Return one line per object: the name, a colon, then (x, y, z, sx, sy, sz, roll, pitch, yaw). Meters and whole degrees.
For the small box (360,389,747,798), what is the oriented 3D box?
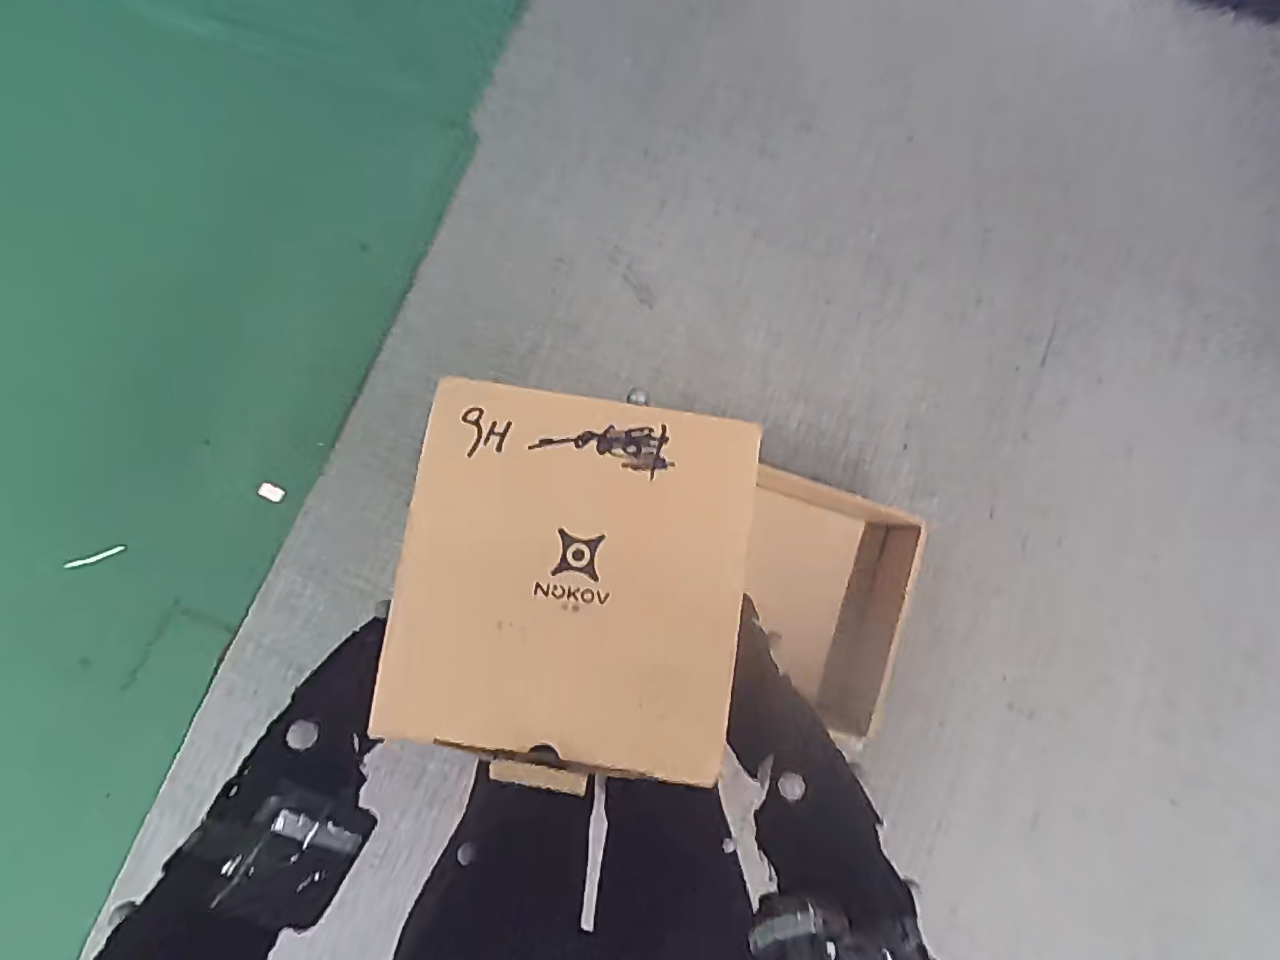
small box: (-0.040, 0.059, 0.338, 0.168, 0.176, 0.179, 8, 83, 0)
